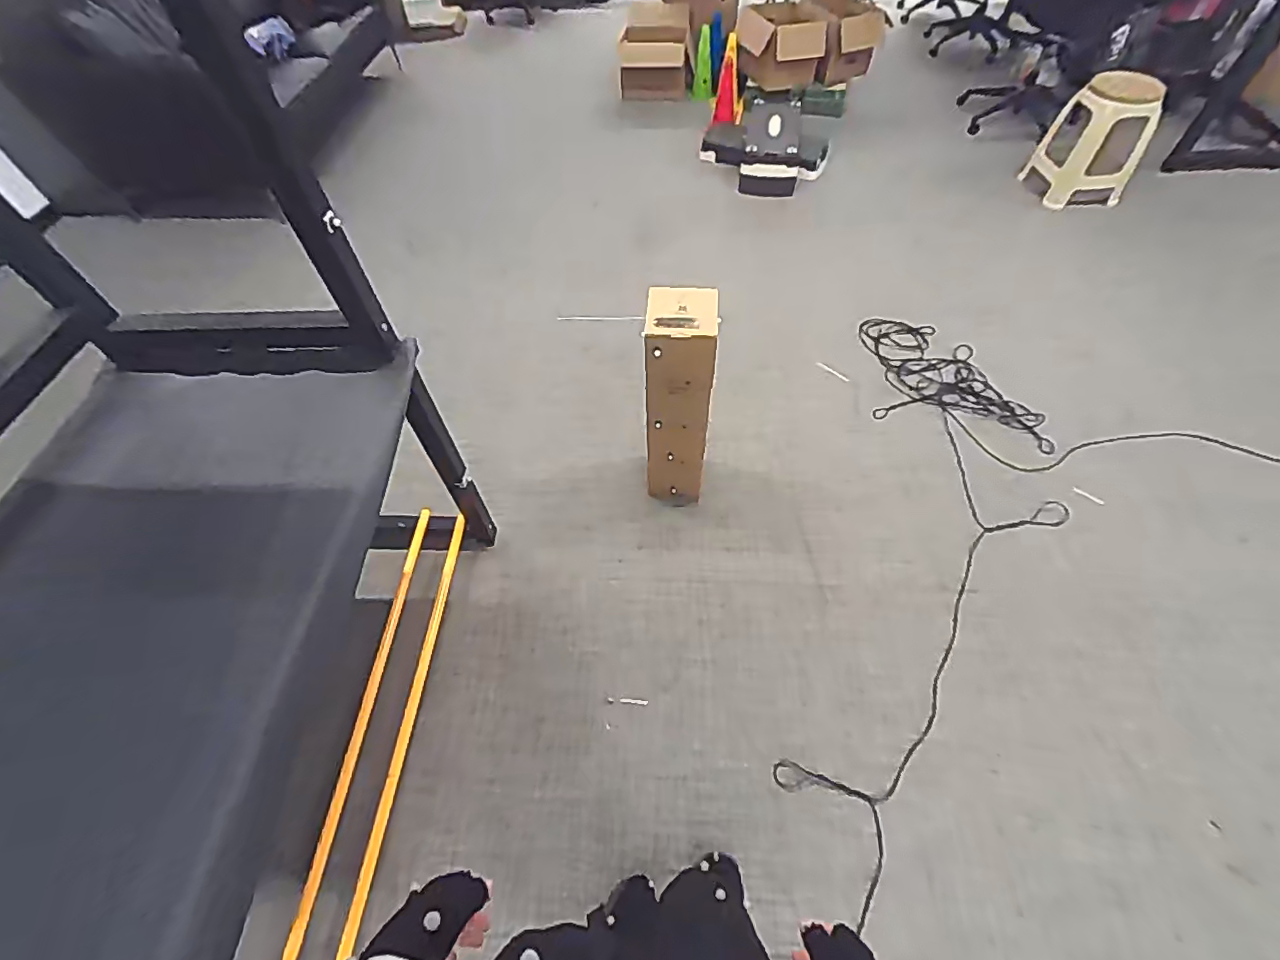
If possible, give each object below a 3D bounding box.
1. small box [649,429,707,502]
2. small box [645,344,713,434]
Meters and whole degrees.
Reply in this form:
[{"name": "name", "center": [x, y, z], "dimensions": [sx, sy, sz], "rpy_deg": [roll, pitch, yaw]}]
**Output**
[{"name": "small box", "center": [0.120, -0.053, 1.723], "dimensions": [0.168, 0.176, 0.179], "rpy_deg": [6, 56, 7]}, {"name": "small box", "center": [0.106, -0.242, 1.456], "dimensions": [0.168, 0.176, 0.179], "rpy_deg": [4, 55, 5]}]
